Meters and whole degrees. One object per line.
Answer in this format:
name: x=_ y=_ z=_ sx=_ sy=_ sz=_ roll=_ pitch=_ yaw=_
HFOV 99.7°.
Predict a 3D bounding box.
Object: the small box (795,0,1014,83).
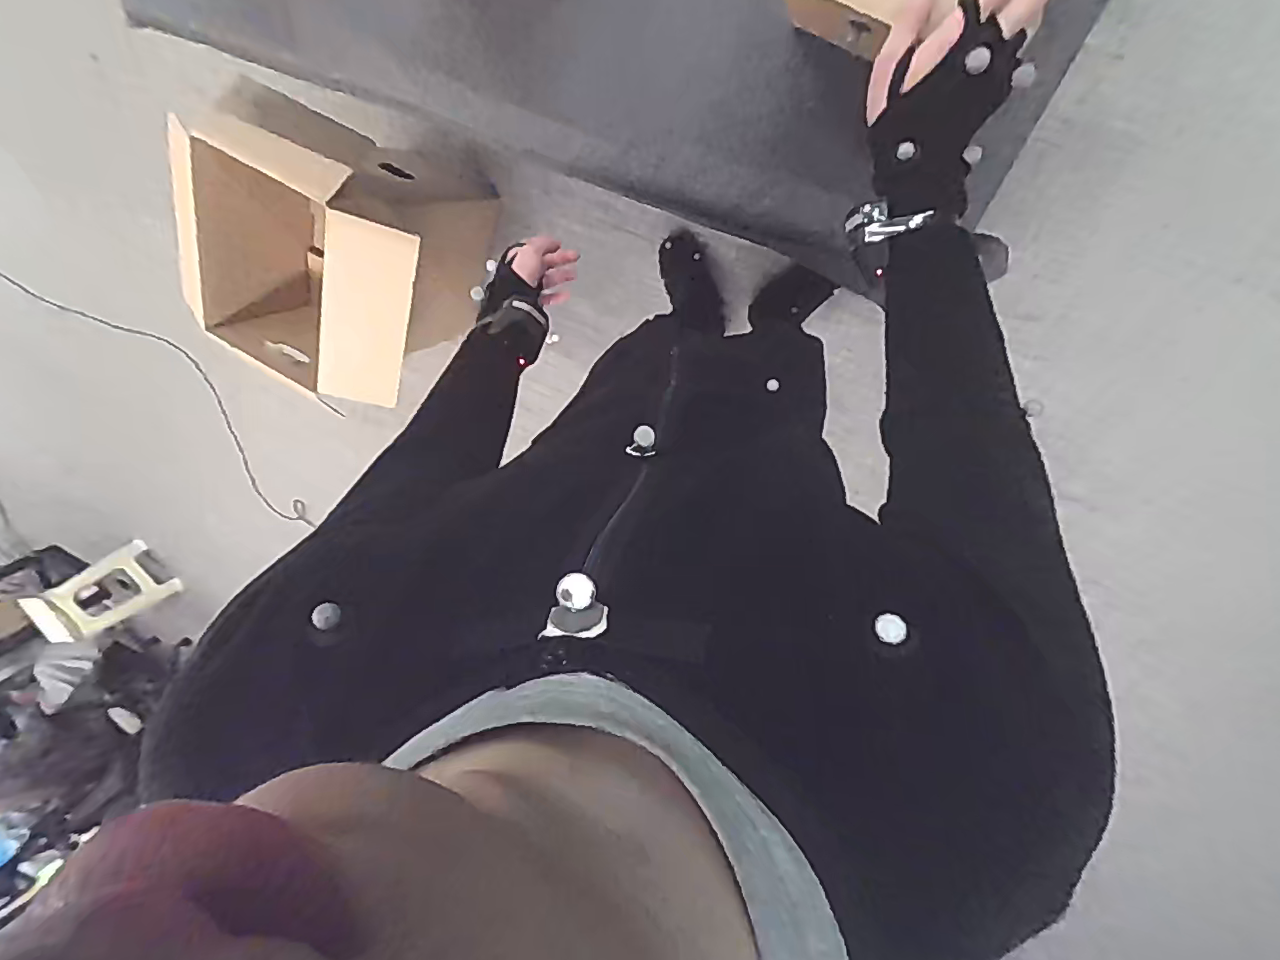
small box: x=0.234 y=-0.452 z=0.433 sx=0.179 sy=0.176 sz=0.168 roll=29 pitch=124 yaw=4
